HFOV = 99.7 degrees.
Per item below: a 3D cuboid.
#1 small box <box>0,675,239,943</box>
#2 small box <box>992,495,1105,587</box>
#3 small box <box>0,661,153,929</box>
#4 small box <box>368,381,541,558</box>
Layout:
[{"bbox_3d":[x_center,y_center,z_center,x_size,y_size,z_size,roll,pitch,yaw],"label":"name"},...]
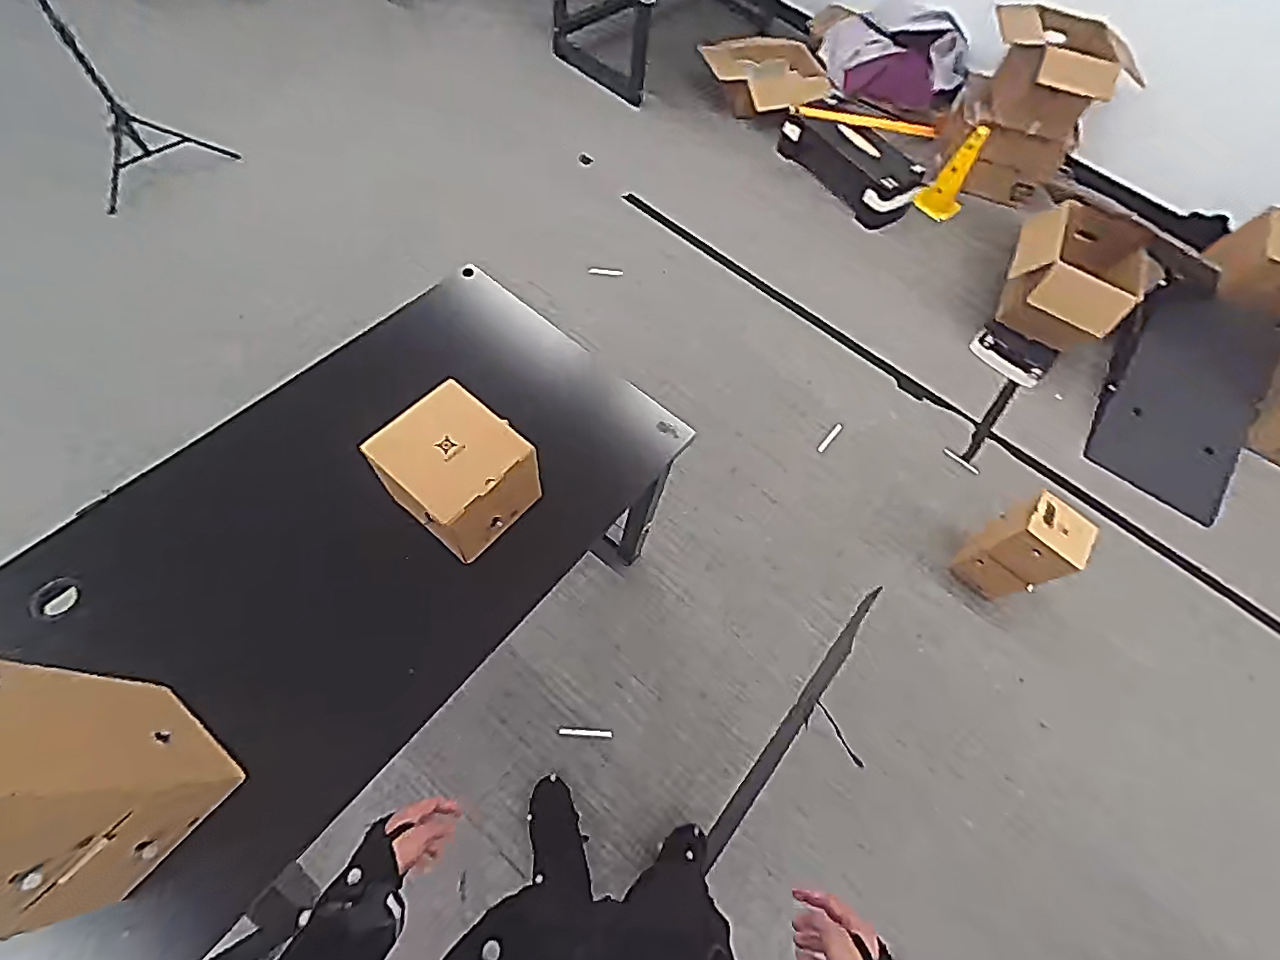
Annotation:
[{"bbox_3d":[-0.605,0.344,0.600,0.179,0.176,0.168,37,64,11],"label":"small box"},{"bbox_3d":[1.162,0.182,1.551,0.179,0.176,0.168,40,65,11],"label":"small box"},{"bbox_3d":[-0.587,0.269,0.454,0.179,0.176,0.168,38,65,11],"label":"small box"},{"bbox_3d":[-0.269,-0.009,0.825,0.179,0.176,0.168,39,65,12],"label":"small box"}]
